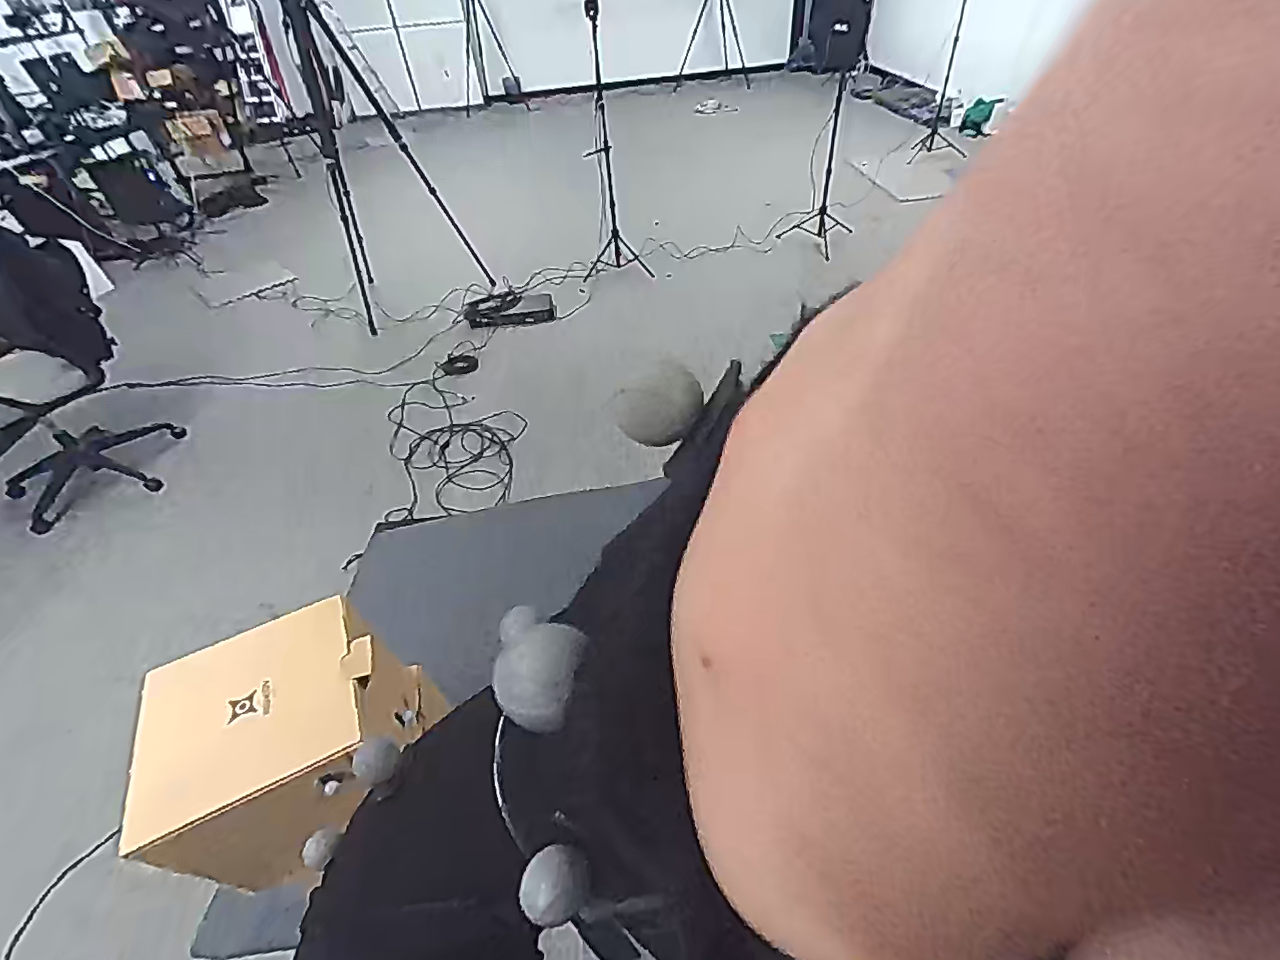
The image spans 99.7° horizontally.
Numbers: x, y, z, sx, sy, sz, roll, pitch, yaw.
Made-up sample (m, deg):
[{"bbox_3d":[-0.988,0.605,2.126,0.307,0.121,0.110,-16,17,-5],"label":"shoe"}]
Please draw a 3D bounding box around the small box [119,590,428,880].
[{"bbox_3d":[-0.333,0.247,0.525,0.179,0.176,0.168,-23,48,-17],"label":"small box"}]

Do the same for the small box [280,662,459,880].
[{"bbox_3d":[-0.325,0.350,0.651,0.179,0.176,0.168,-14,46,-7],"label":"small box"}]
